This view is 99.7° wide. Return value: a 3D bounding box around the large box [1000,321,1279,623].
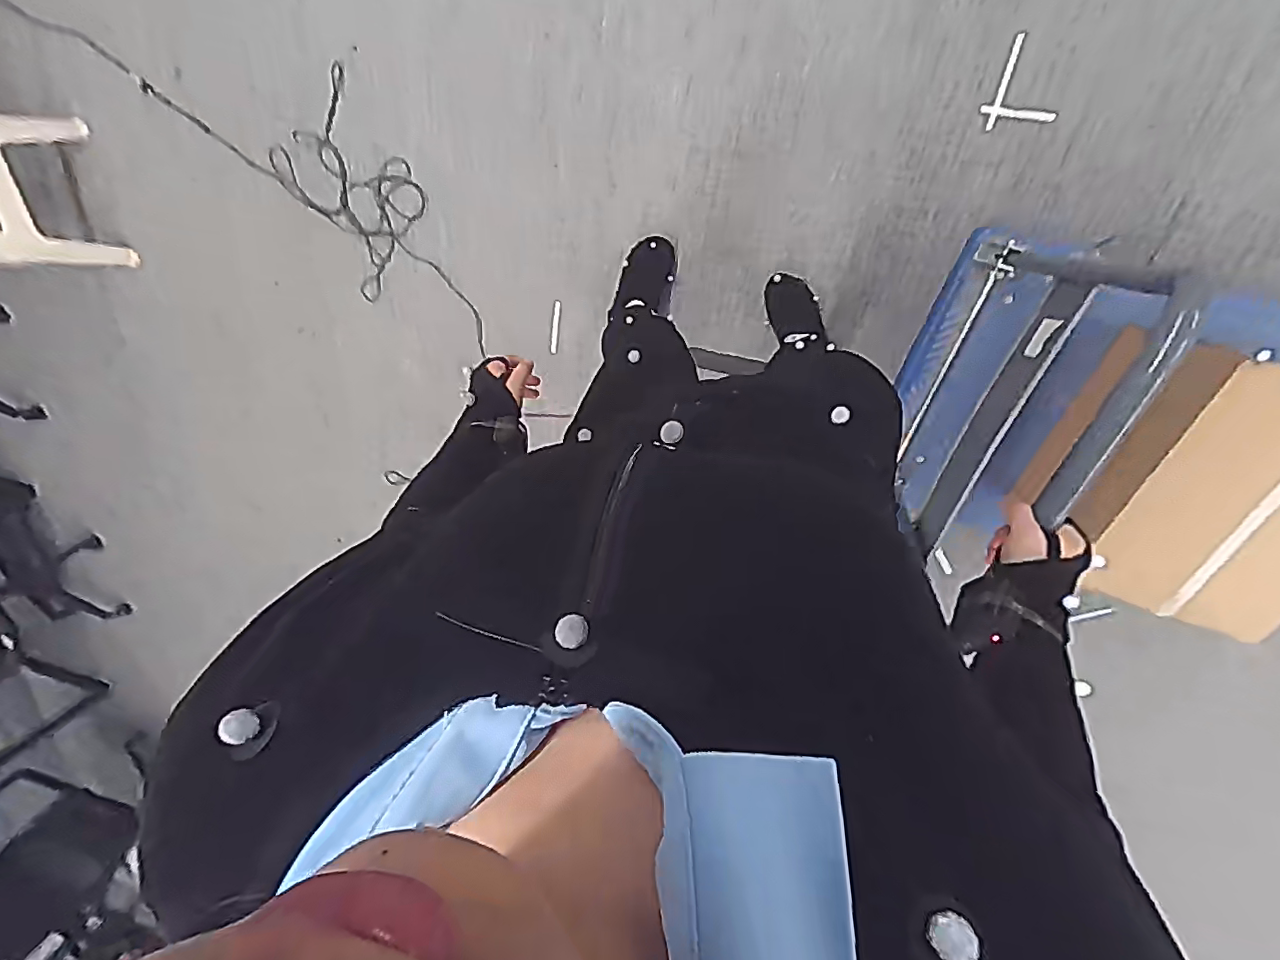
[{"bbox_3d":[0.952,-0.032,0.977,0.320,0.320,0.408,19,116,5],"label":"large box"}]
